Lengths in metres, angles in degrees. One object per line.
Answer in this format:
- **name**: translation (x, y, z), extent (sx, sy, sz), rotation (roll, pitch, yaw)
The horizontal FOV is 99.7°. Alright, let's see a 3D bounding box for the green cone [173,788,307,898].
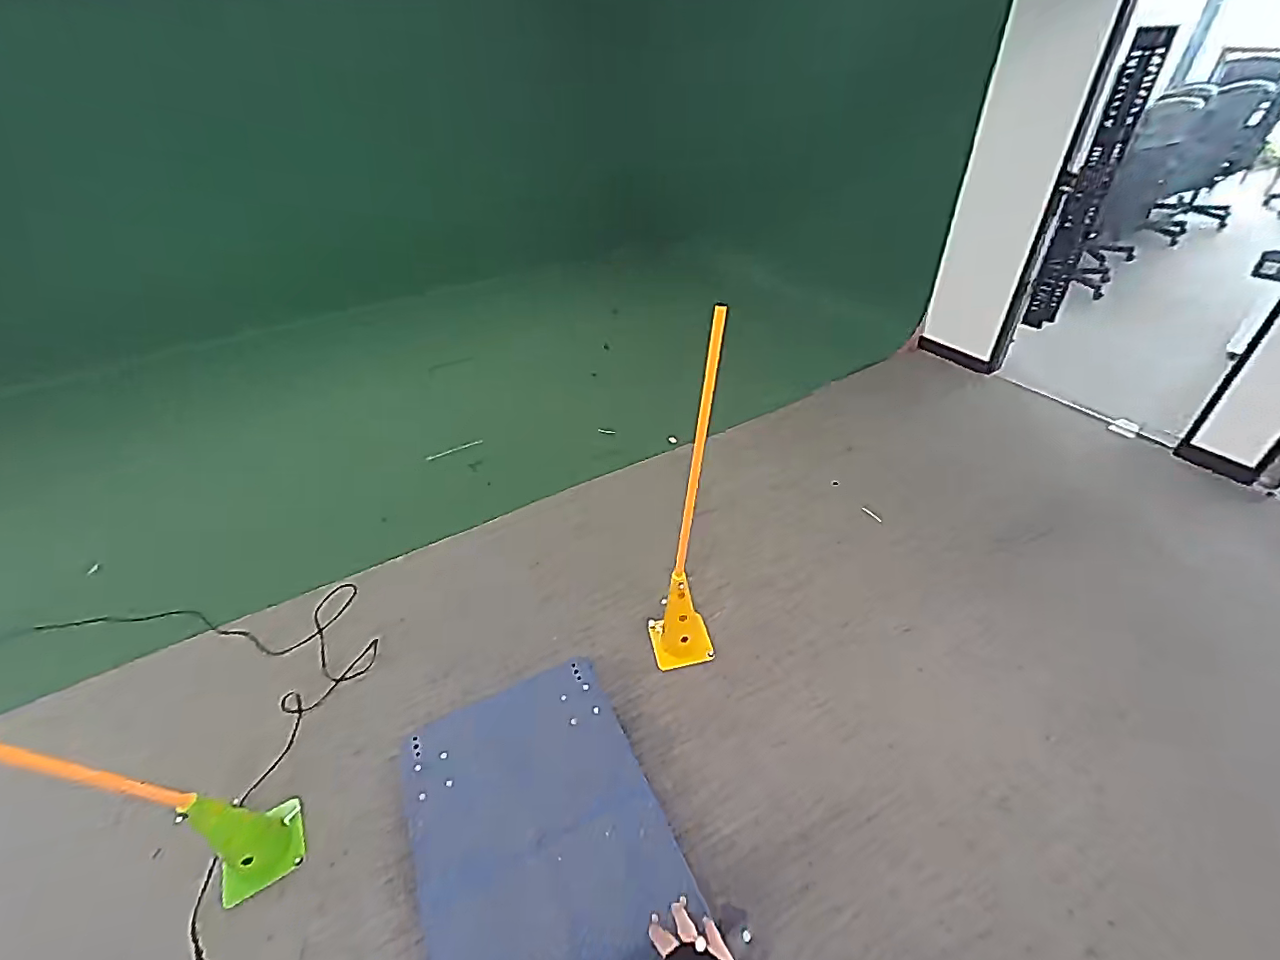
- **green cone**: translation (-1.054, 0.872, 1.387), extent (0.202, 0.368, 0.200), rotation (-26, 44, -21)
